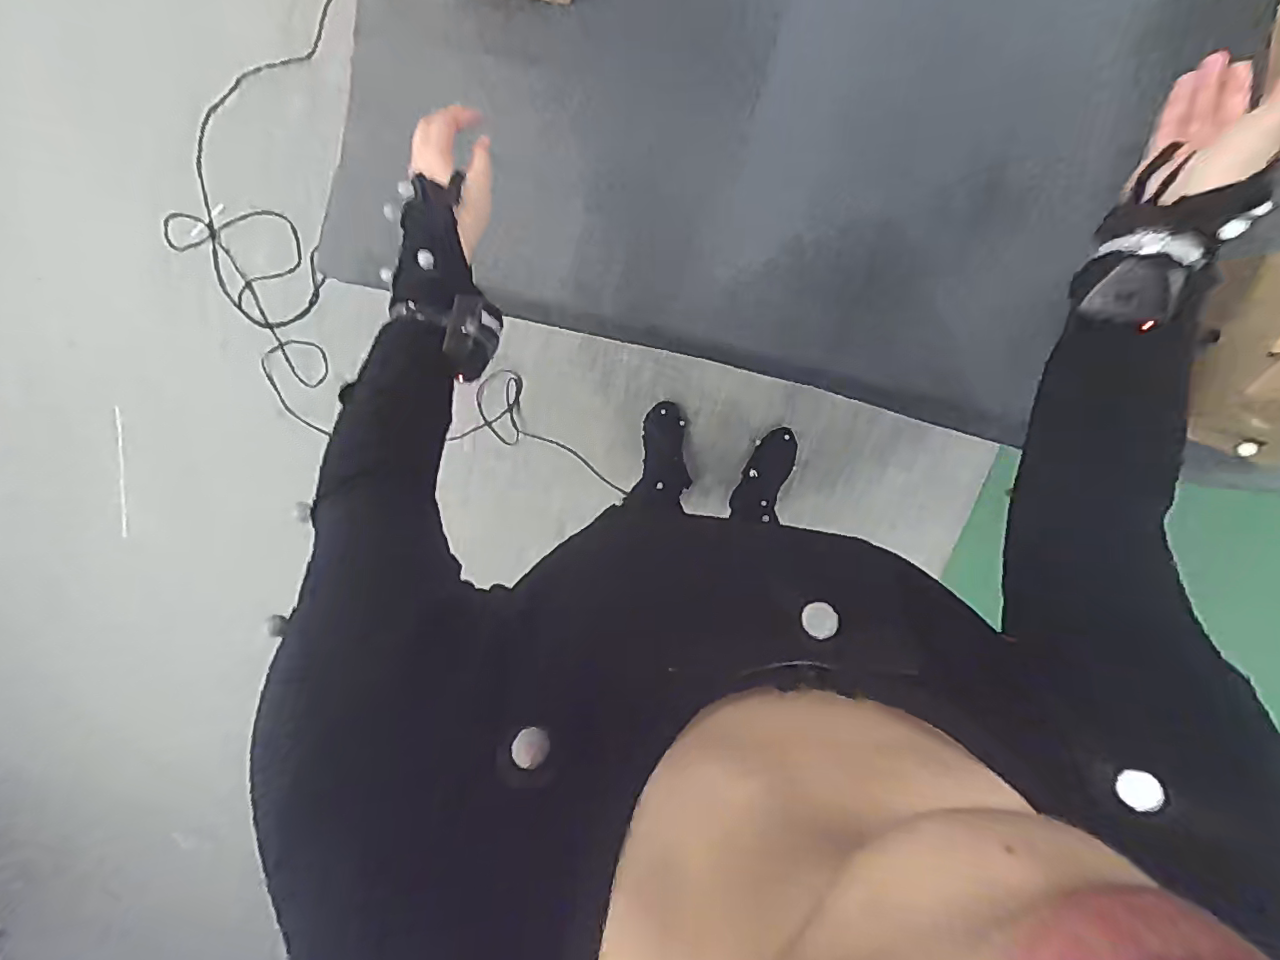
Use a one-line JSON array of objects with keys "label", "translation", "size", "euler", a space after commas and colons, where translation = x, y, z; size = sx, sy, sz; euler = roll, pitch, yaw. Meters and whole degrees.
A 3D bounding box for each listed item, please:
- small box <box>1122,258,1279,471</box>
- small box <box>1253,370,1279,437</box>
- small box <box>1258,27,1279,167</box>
[{"label": "small box", "translation": [0.631, -0.102, 0.514], "size": [0.179, 0.176, 0.168], "euler": [22, 104, 5]}, {"label": "small box", "translation": [0.605, -0.053, 0.359], "size": [0.179, 0.176, 0.168], "euler": [42, 104, -2]}, {"label": "small box", "translation": [0.679, -0.382, 0.438], "size": [0.168, 0.176, 0.179], "euler": [0, 106, 13]}]
